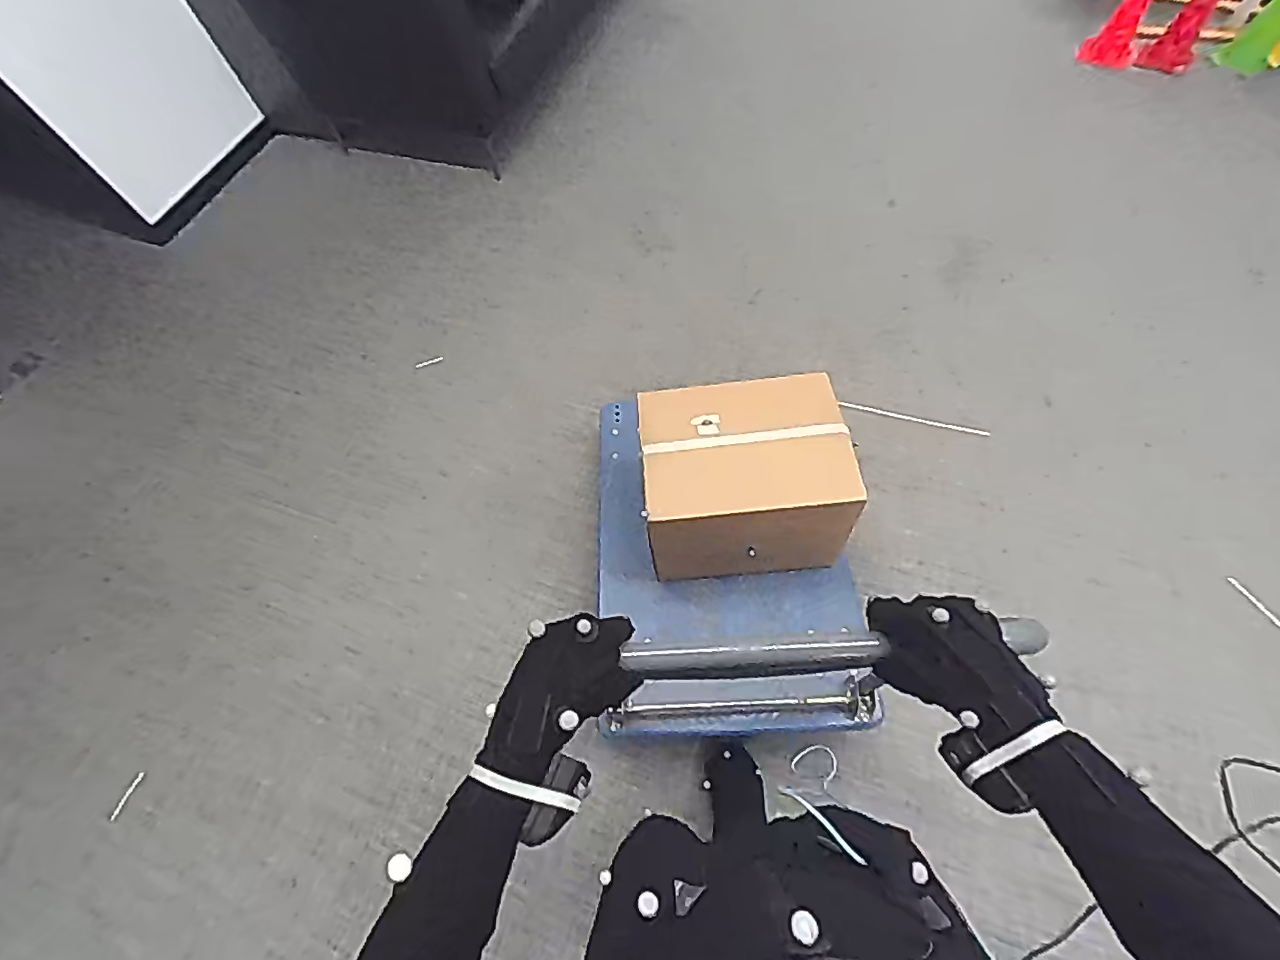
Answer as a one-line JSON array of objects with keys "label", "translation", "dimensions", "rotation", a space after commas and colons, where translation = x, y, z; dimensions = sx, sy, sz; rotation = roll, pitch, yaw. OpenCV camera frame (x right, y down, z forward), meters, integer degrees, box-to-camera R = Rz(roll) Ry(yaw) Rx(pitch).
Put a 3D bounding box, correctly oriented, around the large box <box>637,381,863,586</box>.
[{"label": "large box", "translation": [0.222, 0.021, 1.208], "dimensions": [0.408, 0.320, 0.320], "rotation": [-8, 57, 3]}]
